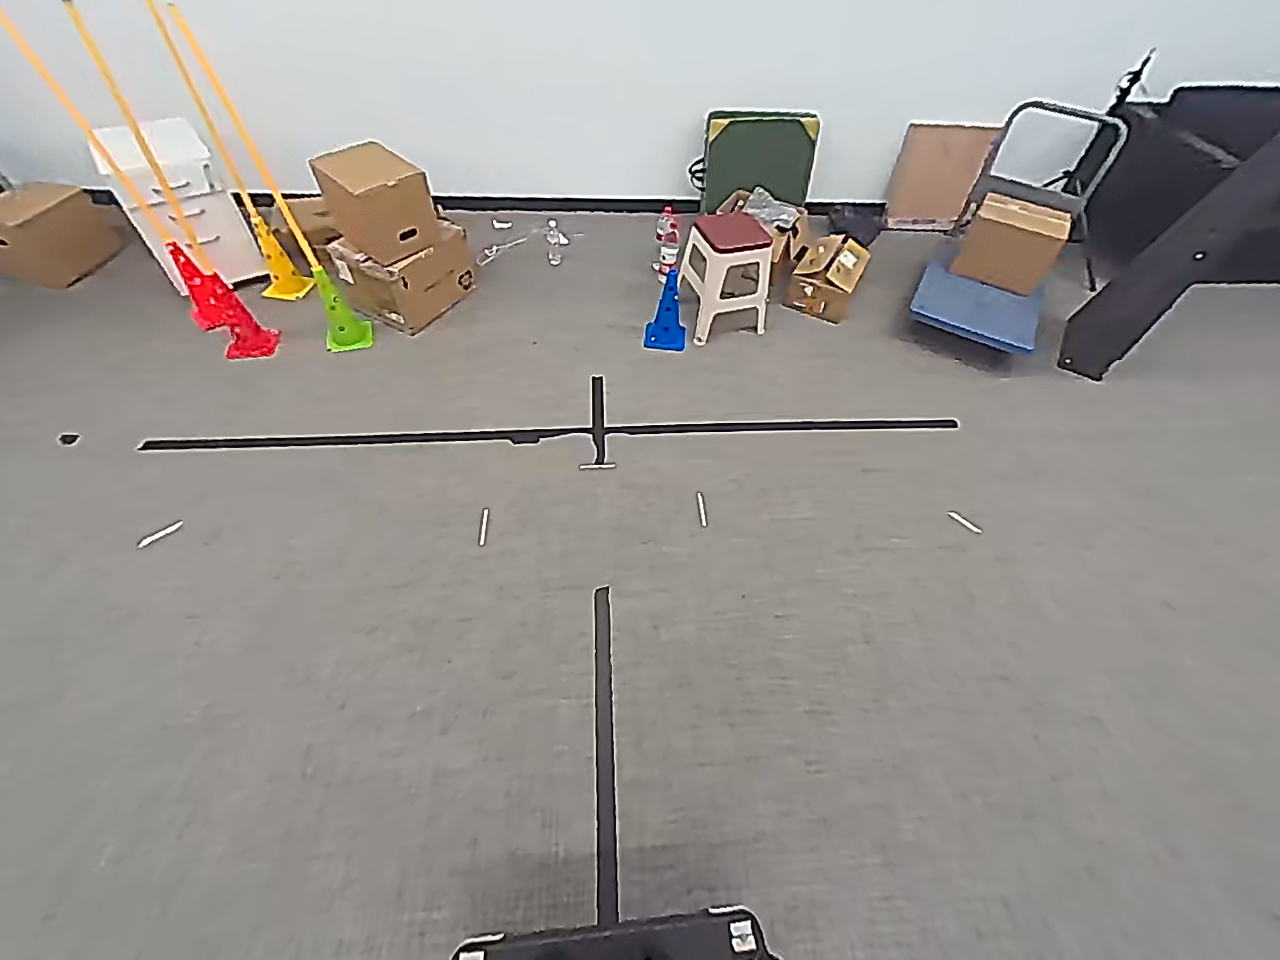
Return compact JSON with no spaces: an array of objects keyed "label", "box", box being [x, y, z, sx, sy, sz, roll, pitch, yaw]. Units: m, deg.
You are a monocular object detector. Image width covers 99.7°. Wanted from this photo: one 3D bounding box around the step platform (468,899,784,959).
[{"label":"step platform","box":[-0.028,1.096,1.133,0.684,0.204,0.286,-2,52,-7]}]
